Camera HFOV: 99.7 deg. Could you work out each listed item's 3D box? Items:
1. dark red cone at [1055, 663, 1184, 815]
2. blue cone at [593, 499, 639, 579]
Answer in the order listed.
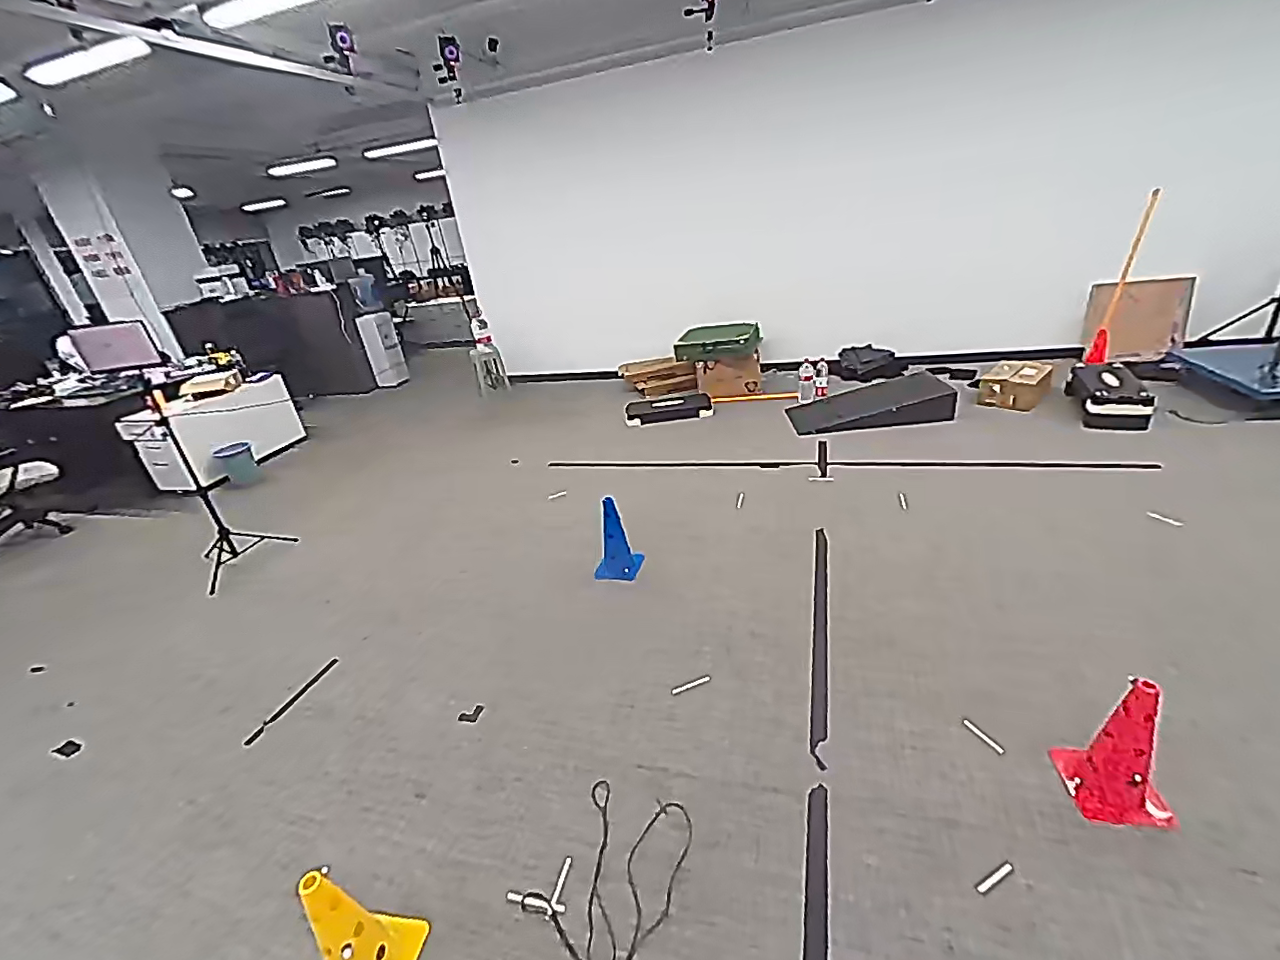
[{"bbox_3d":[1.166,0.590,1.284,0.201,0.394,0.202,-4,26,12],"label":"dark red cone"},{"bbox_3d":[-0.133,0.255,2.424,0.192,0.380,0.193,0,27,19],"label":"blue cone"}]
